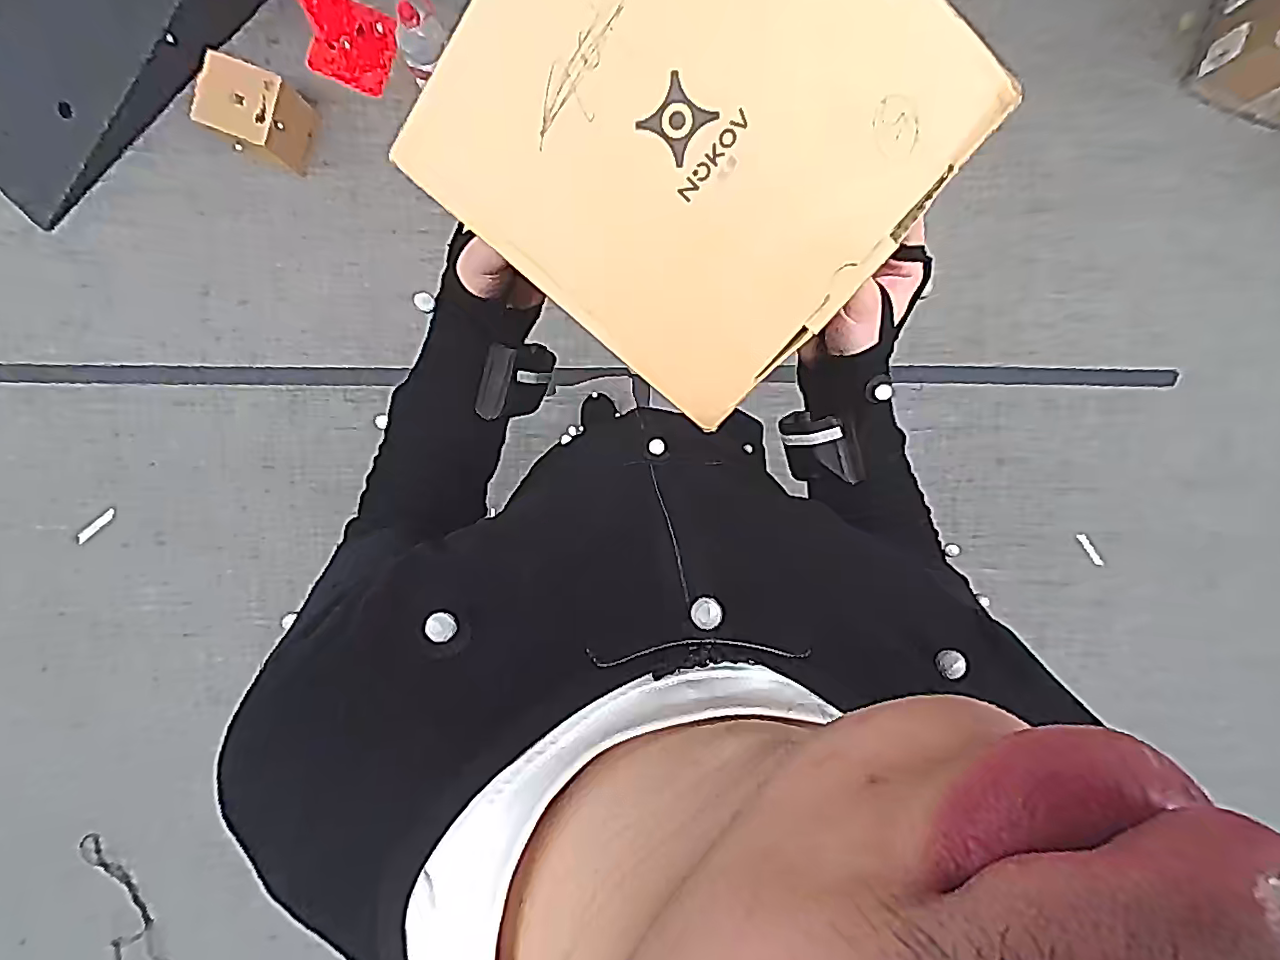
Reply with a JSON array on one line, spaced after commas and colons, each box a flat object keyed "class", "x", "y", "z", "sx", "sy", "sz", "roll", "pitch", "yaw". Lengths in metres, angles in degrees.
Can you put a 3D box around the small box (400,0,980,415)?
[{"class": "small box", "x": 0.022, "y": -0.166, "z": 0.291, "sx": 0.179, "sy": 0.176, "sz": 0.168, "roll": 38, "pitch": 108, "yaw": -8}]
